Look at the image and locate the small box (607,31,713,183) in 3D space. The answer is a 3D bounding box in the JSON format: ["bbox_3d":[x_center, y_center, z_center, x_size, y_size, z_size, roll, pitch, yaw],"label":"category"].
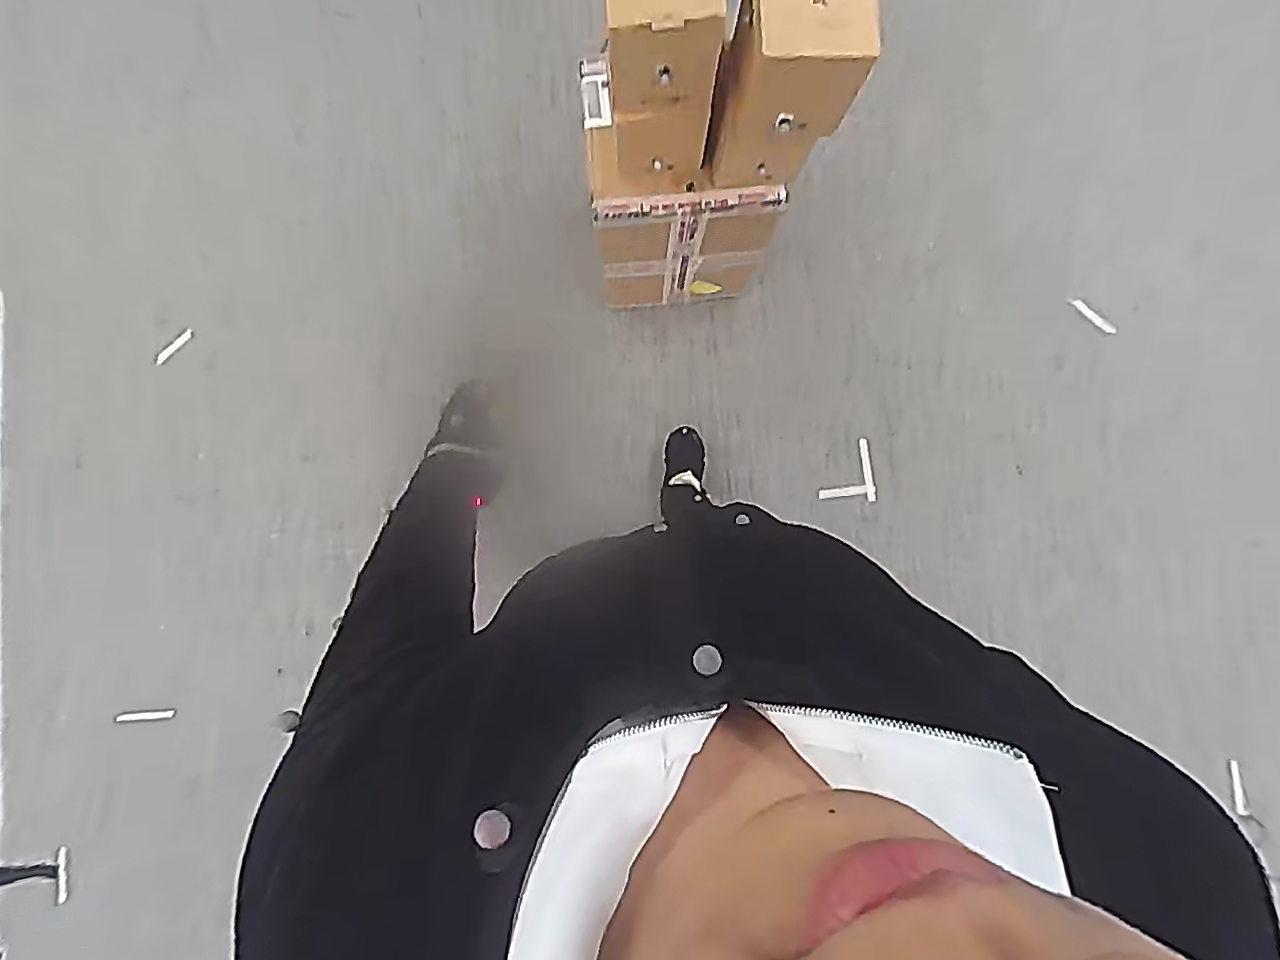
[{"bbox_3d":[0.033,-0.681,0.987,0.168,0.176,0.179,-7,89,1],"label":"small box"}]

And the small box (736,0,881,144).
[{"bbox_3d":[0.245,-0.654,0.826,0.168,0.176,0.179,-3,88,0],"label":"small box"}]

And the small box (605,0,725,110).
[{"bbox_3d":[0.034,-0.700,0.824,0.168,0.176,0.179,-5,89,1],"label":"small box"}]

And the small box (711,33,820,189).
[{"bbox_3d":[0.226,-0.667,0.988,0.168,0.176,0.179,-5,88,-2],"label":"small box"}]
